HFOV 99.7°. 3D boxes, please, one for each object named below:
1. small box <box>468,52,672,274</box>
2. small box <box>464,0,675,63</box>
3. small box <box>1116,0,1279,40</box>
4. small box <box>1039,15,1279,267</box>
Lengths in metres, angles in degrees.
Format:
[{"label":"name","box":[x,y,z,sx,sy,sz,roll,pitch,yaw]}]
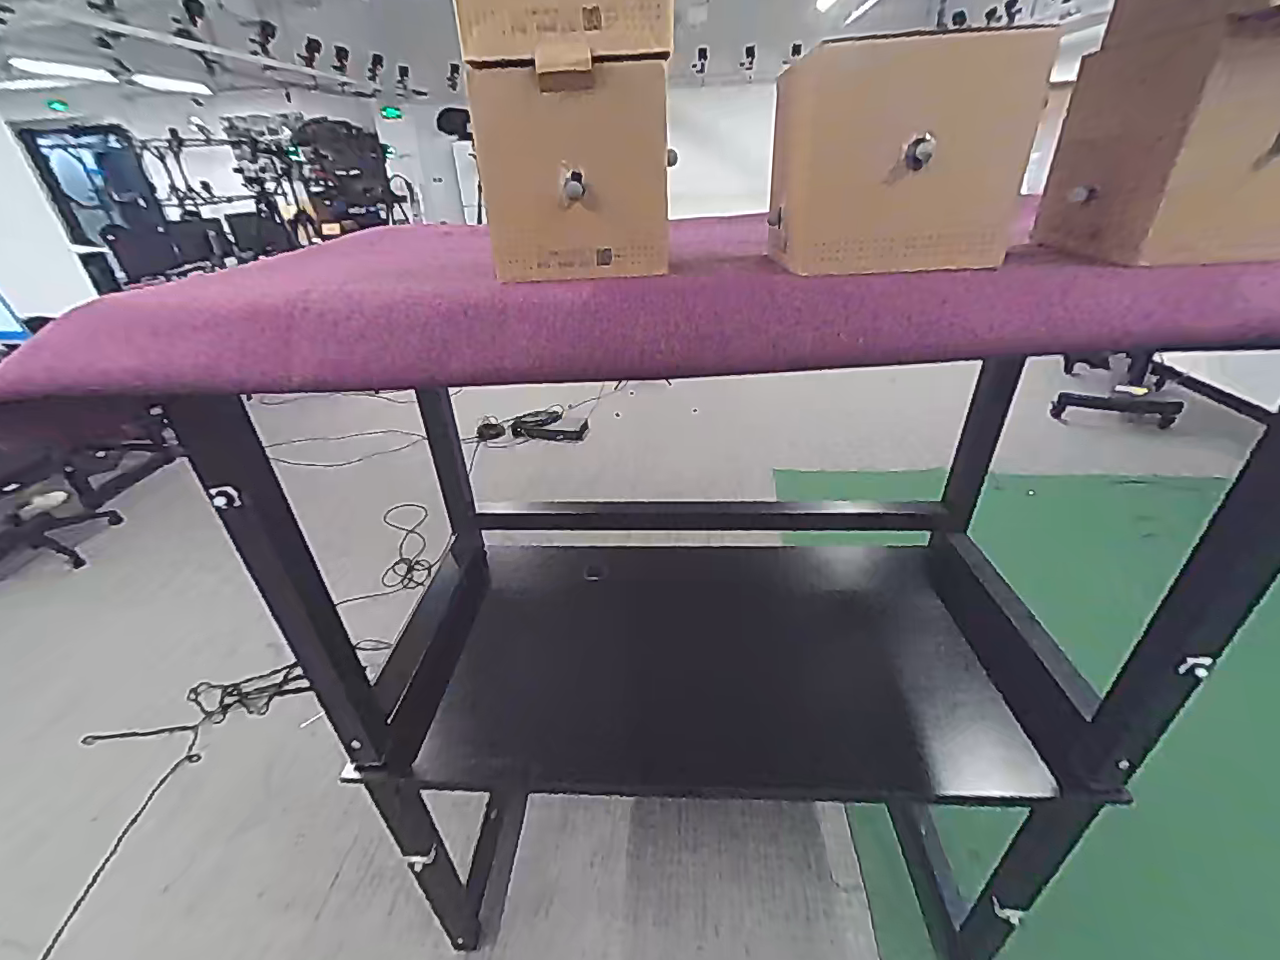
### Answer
[{"label":"small box","box":[-0.054,-0.306,0.543,0.168,0.176,0.179,-2,30,1]},{"label":"small box","box":[-0.059,-0.445,0.458,0.168,0.176,0.179,-3,28,-1]},{"label":"small box","box":[0.497,-0.422,0.372,0.179,0.176,0.168,-1,30,5]},{"label":"small box","box":[0.505,-0.292,0.474,0.179,0.176,0.168,-1,31,6]}]
